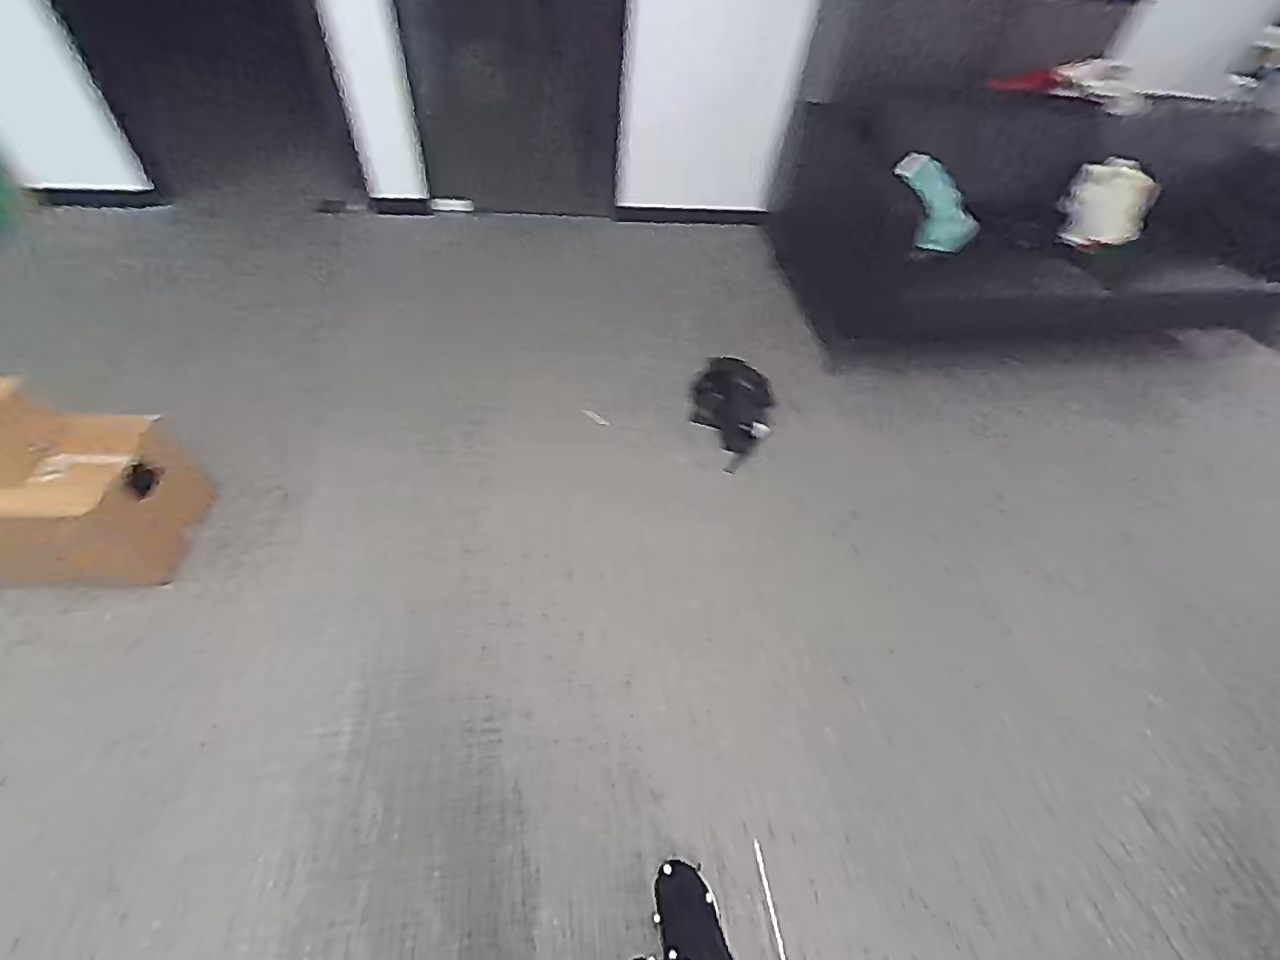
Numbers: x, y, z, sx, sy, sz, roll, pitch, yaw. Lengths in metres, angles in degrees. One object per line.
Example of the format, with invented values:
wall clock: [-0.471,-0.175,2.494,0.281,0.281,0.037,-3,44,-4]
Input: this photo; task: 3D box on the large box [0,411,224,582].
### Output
large box: [-1.386,0.047,1.355,0.408,0.320,0.320,2,51,-7]
